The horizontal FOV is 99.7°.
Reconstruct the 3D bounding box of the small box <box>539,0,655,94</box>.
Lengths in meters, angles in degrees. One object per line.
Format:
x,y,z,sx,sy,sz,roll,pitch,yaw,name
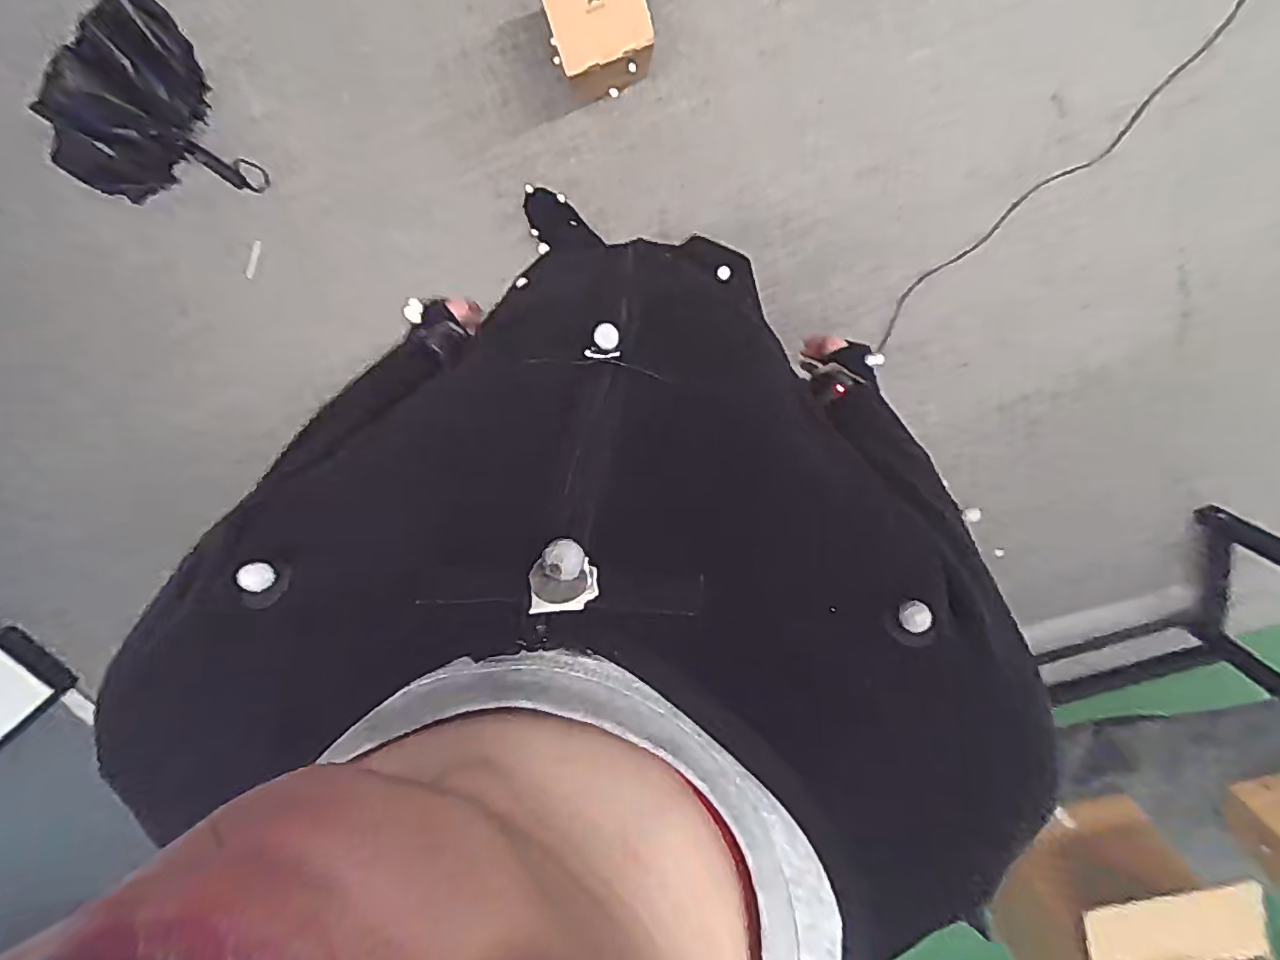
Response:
-0.077,-0.810,0.952,0.168,0.176,0.179,-18,116,7,small box

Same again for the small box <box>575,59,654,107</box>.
-0.081,-0.891,1.092,0.168,0.176,0.179,-19,118,9,small box
